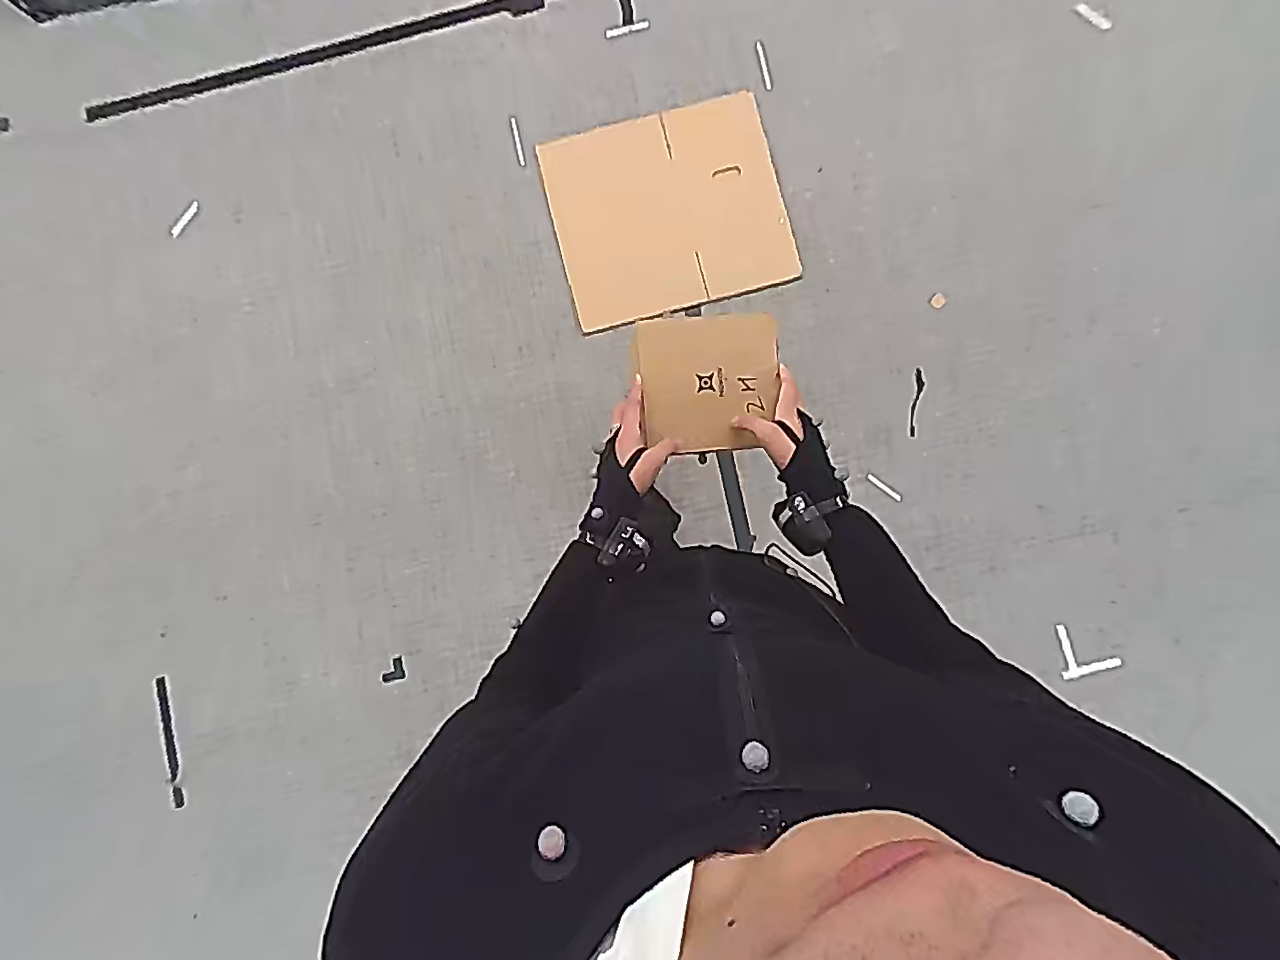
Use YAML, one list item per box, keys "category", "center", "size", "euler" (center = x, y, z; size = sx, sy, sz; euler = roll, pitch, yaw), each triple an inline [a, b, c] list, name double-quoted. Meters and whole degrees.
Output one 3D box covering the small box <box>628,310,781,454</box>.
- category: "small box"
  center: [0.076, -0.124, 0.739]
  size: [0.179, 0.176, 0.168]
  euler: [-5, 92, -6]
